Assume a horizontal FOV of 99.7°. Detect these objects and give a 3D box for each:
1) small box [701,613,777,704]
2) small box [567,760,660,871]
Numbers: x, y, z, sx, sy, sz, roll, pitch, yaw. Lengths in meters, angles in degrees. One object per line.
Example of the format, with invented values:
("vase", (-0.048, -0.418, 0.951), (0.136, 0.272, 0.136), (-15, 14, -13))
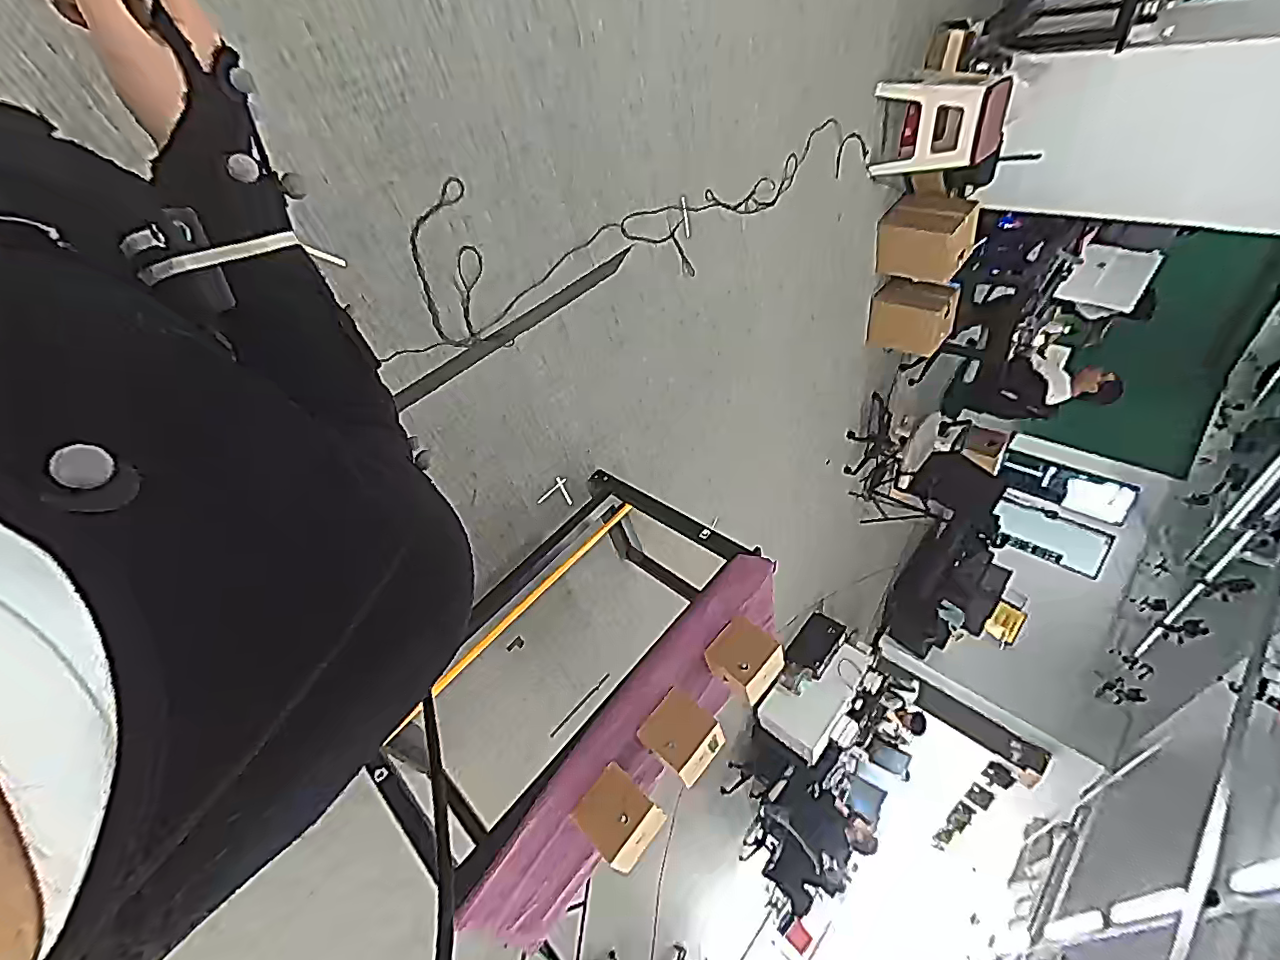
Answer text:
("small box", (0.308, 0.560, 1.702), (0.179, 0.176, 0.168), (-43, 141, -20))
("small box", (-0.076, 0.910, 1.470), (0.179, 0.176, 0.168), (-45, 141, -23))
